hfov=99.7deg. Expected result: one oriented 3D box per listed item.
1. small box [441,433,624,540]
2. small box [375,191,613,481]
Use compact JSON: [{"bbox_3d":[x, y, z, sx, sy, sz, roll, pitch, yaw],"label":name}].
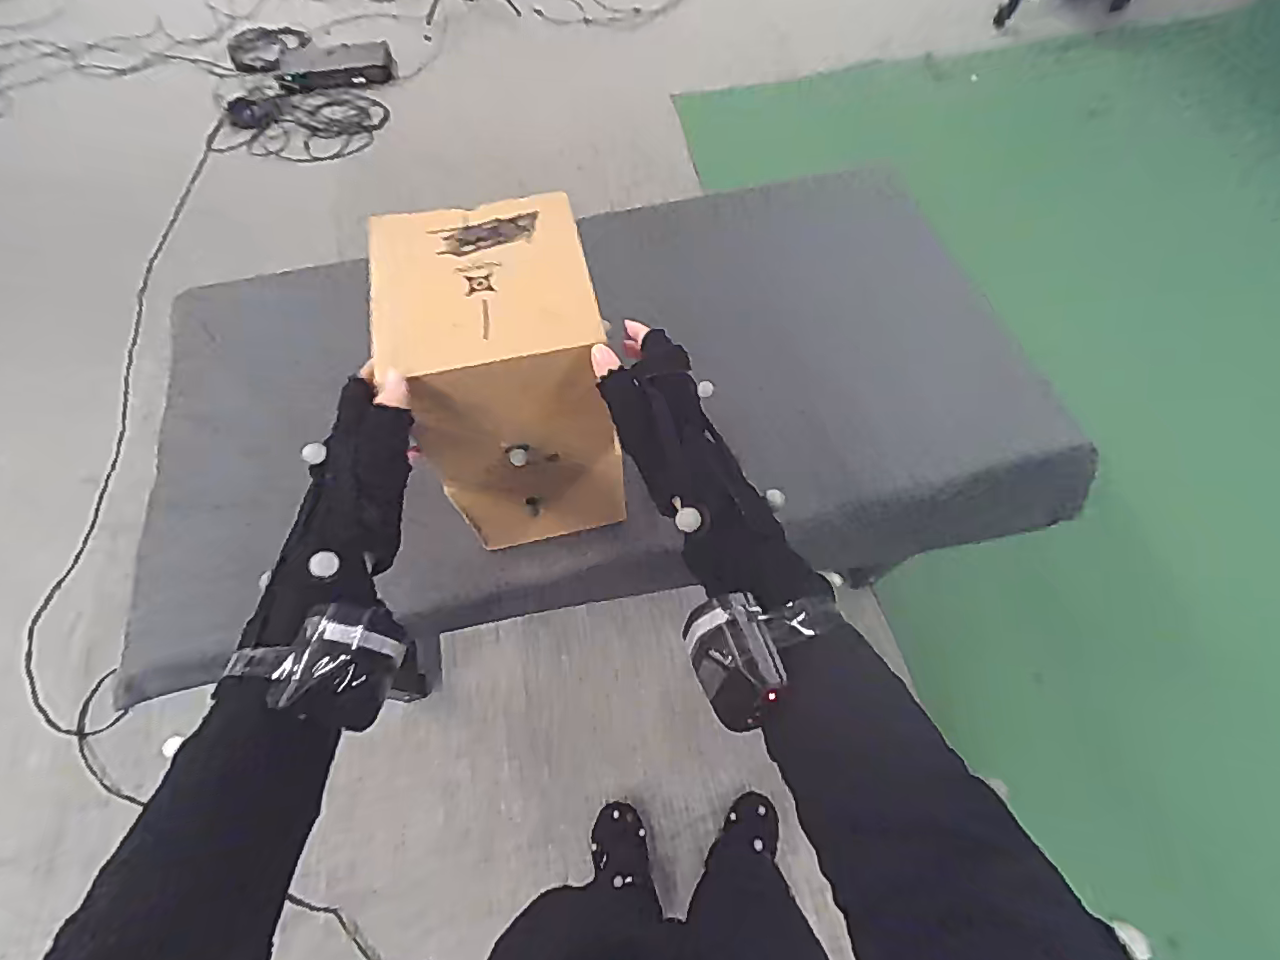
[{"bbox_3d":[-0.121,-0.044,0.636,0.179,0.176,0.168,-12,64,-5],"label":"small box"},{"bbox_3d":[-0.121,-0.123,0.490,0.168,0.176,0.179,-11,63,-6],"label":"small box"}]
